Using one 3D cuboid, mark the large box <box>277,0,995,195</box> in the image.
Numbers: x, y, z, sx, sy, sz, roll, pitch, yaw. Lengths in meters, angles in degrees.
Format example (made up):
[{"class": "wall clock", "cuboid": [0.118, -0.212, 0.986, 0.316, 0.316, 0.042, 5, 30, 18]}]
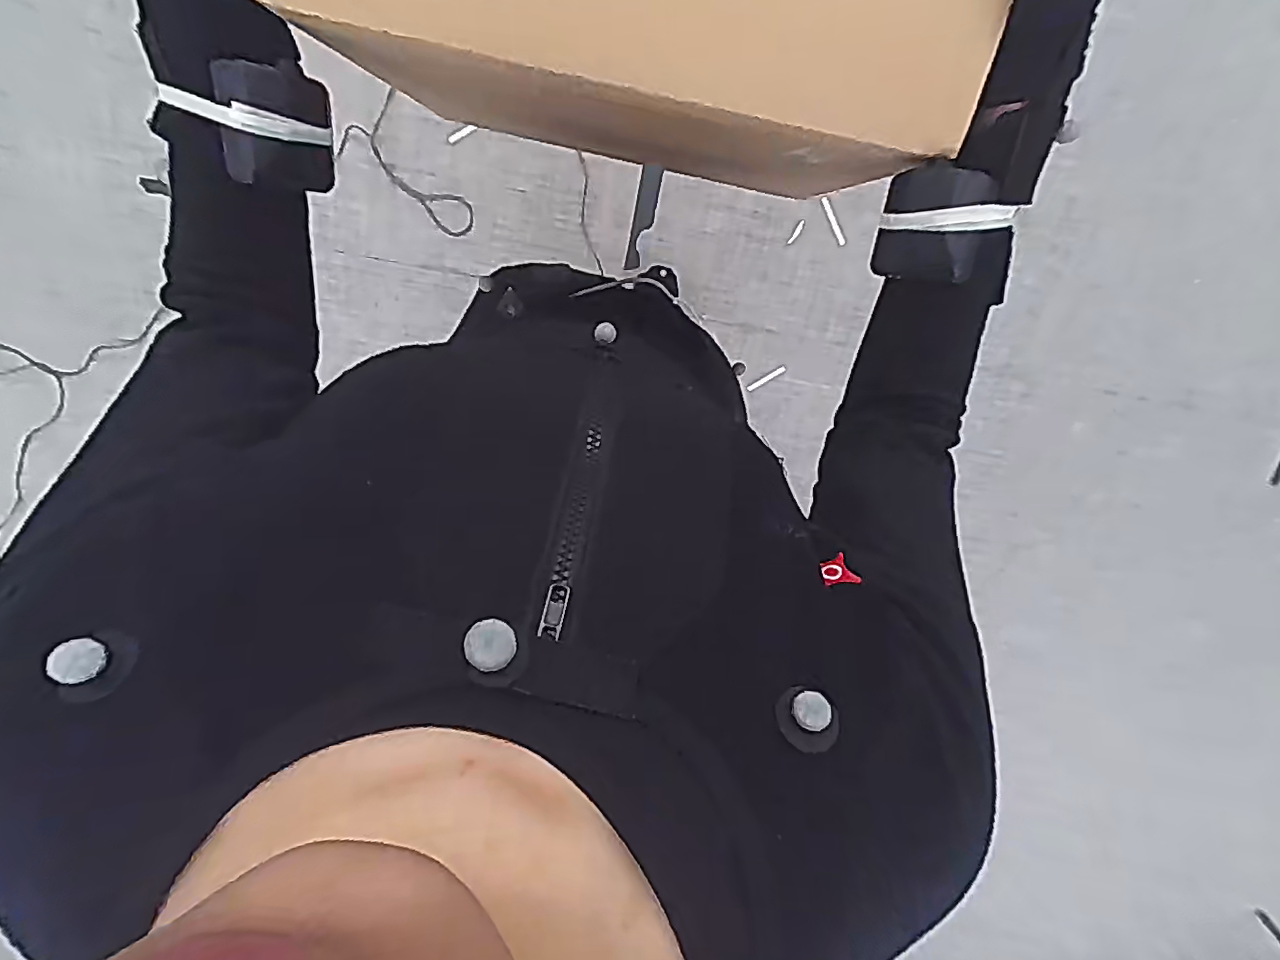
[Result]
[{"class": "large box", "cuboid": [0.015, -0.425, 0.393, 0.408, 0.320, 0.320, 10, 114, -5]}]
